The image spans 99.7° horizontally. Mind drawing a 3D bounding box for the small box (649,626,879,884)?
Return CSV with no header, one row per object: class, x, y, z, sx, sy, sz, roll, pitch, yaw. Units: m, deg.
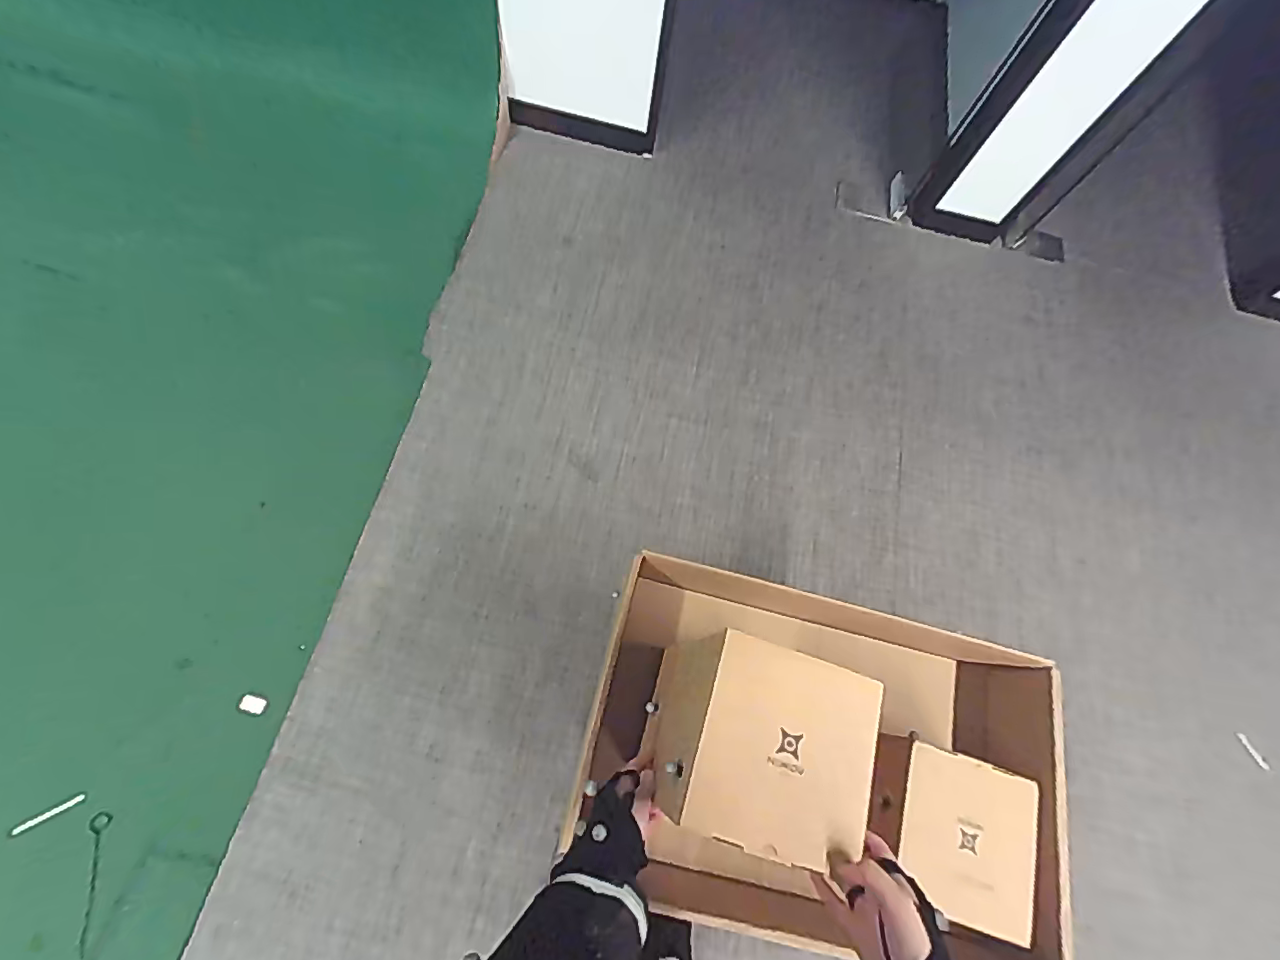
small box,0.119,0.270,0.563,0.168,0.176,0.179,20,67,-2
